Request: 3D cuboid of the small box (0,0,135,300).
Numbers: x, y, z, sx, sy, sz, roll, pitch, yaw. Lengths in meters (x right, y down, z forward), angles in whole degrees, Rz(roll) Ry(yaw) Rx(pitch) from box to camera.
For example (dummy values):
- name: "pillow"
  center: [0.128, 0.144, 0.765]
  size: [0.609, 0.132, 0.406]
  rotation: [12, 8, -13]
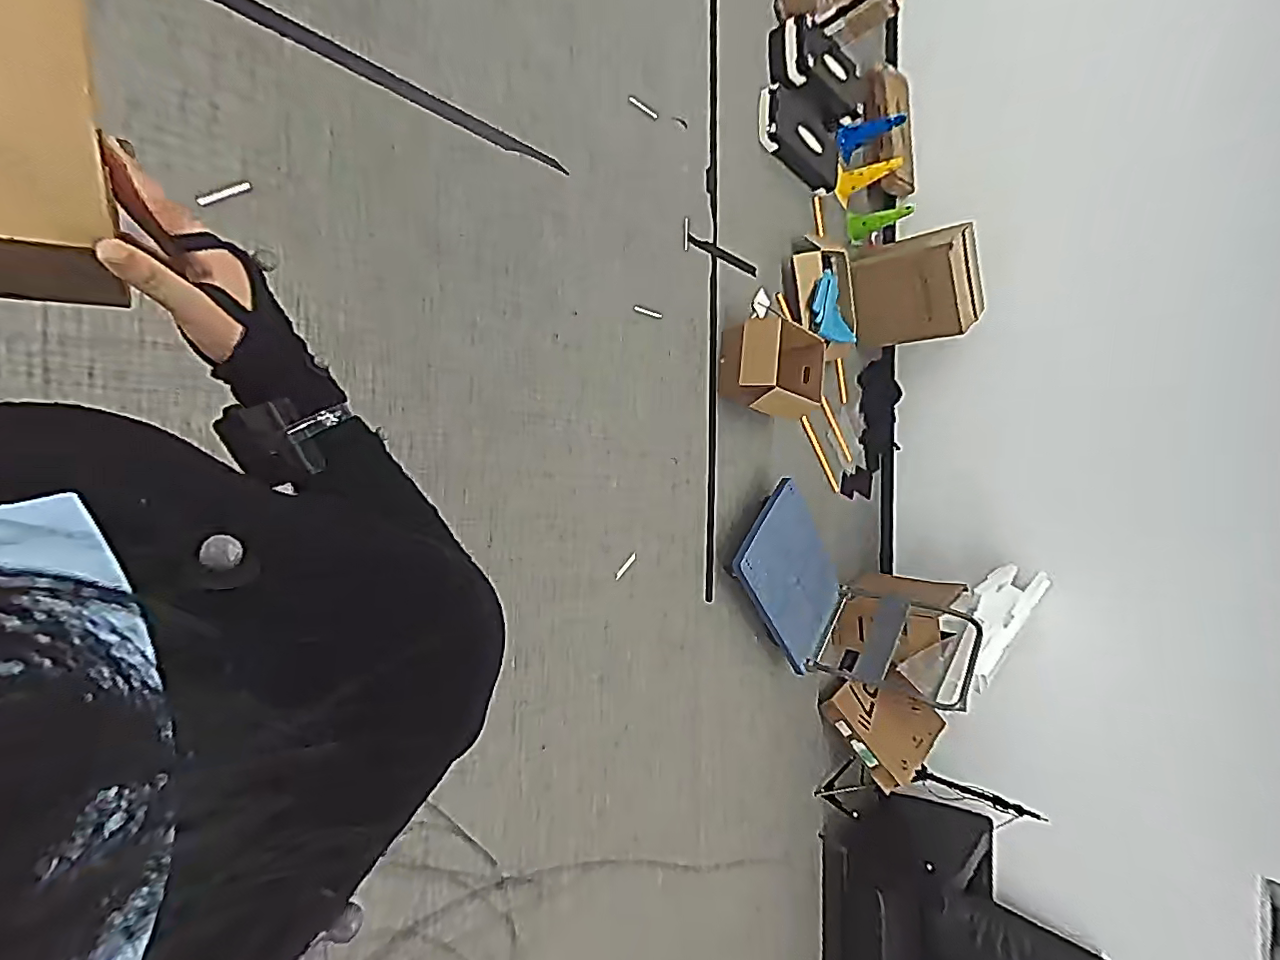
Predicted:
- name: "small box"
  center: [-0.416, -0.214, 0.312]
  size: [0.168, 0.176, 0.179]
  rotation: [-7, 96, -41]
